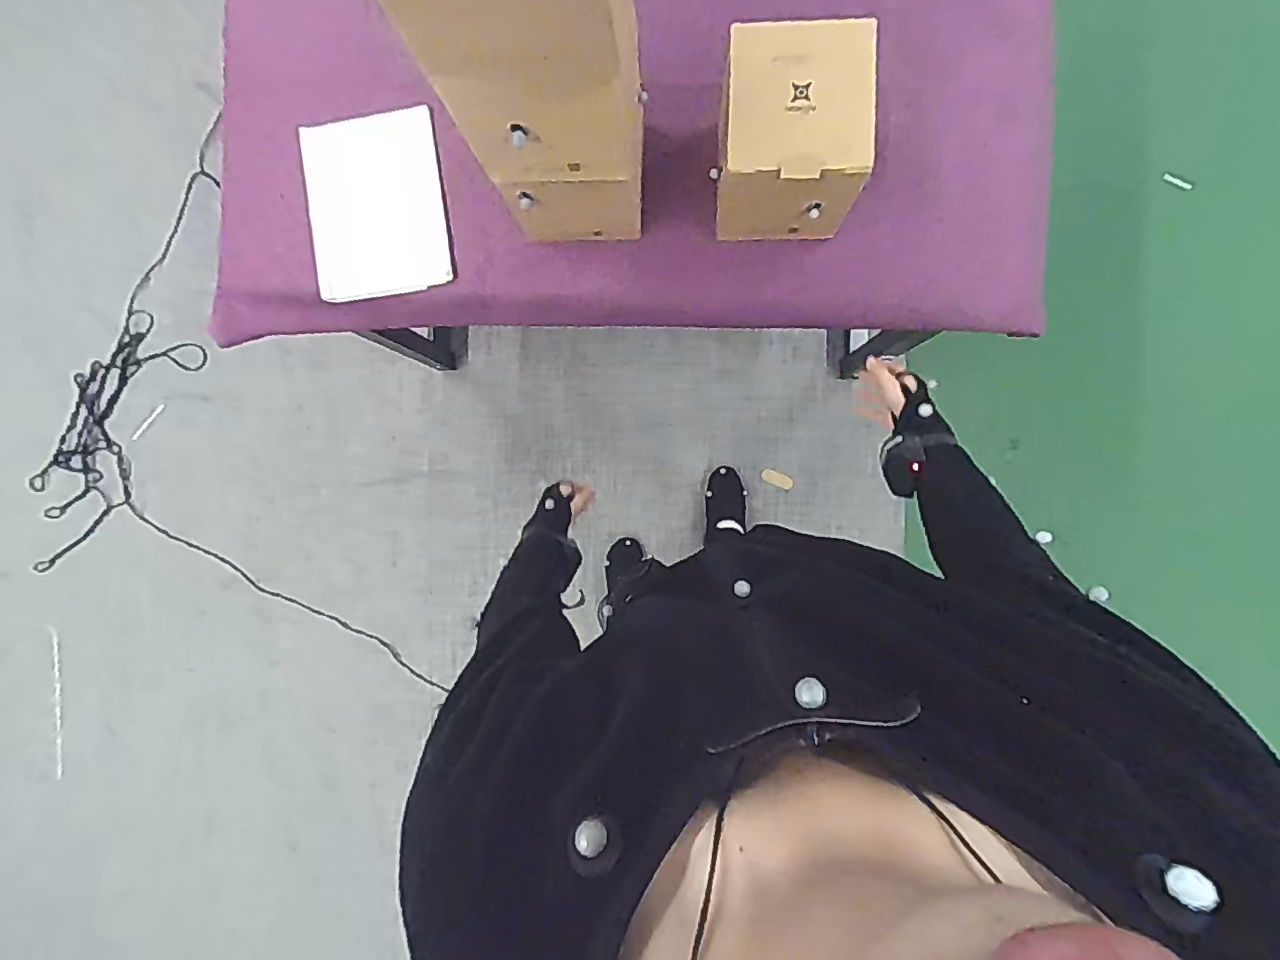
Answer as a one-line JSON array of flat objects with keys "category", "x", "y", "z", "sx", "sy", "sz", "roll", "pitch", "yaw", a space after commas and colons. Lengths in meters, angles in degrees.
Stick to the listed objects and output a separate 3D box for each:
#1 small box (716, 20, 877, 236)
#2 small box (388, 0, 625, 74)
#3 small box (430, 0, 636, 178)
[{"category": "small box", "x": 0.188, "y": -0.433, "z": 0.693, "sx": 0.168, "sy": 0.176, "sz": 0.179, "roll": 2, "pitch": 88, "yaw": 4}, {"category": "small box", "x": -0.099, "y": -0.430, "z": 0.385, "sx": 0.179, "sy": 0.176, "sz": 0.168, "roll": 4, "pitch": 88, "yaw": 5}, {"category": "small box", "x": -0.094, "y": -0.434, "z": 0.550, "sx": 0.168, "sy": 0.176, "sz": 0.179, "roll": 2, "pitch": 89, "yaw": 5}]
